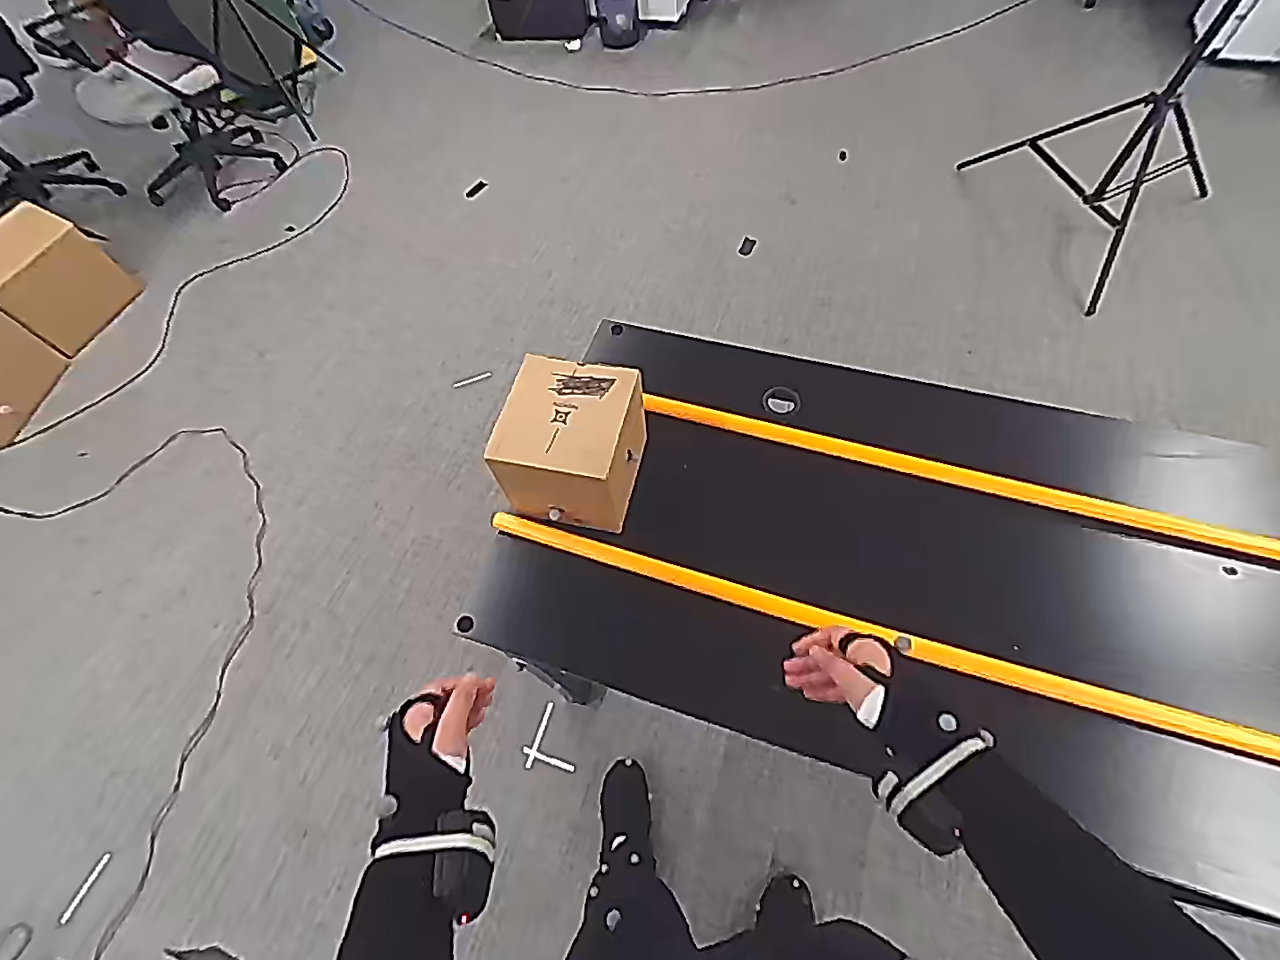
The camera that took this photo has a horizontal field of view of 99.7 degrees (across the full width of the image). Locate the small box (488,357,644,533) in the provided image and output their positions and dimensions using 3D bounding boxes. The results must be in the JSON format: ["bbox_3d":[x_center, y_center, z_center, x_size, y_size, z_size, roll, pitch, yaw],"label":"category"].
[{"bbox_3d":[-0.091,-0.047,0.779,0.168,0.176,0.179,10,63,10],"label":"small box"}]
